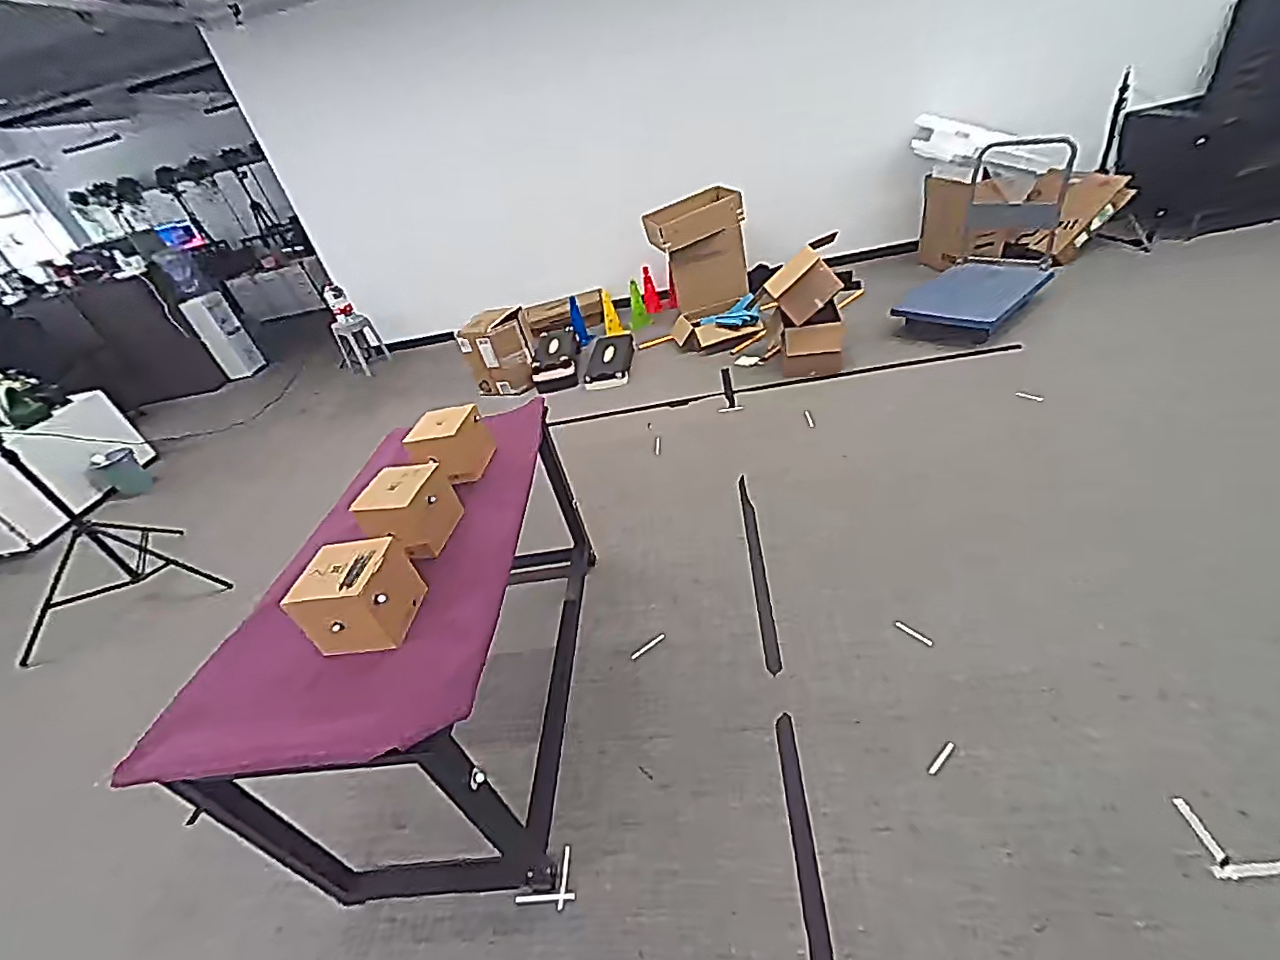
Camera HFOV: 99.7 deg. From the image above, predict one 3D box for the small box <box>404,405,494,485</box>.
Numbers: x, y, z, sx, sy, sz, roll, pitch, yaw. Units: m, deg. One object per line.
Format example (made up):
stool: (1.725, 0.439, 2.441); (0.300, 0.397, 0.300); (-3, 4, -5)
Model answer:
small box: (-0.557, -0.097, 1.605); (0.168, 0.176, 0.179); (-8, 35, 12)

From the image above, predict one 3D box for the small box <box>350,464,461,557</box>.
small box: (-0.579, 0.081, 1.366); (0.168, 0.176, 0.179); (-4, 36, 14)
